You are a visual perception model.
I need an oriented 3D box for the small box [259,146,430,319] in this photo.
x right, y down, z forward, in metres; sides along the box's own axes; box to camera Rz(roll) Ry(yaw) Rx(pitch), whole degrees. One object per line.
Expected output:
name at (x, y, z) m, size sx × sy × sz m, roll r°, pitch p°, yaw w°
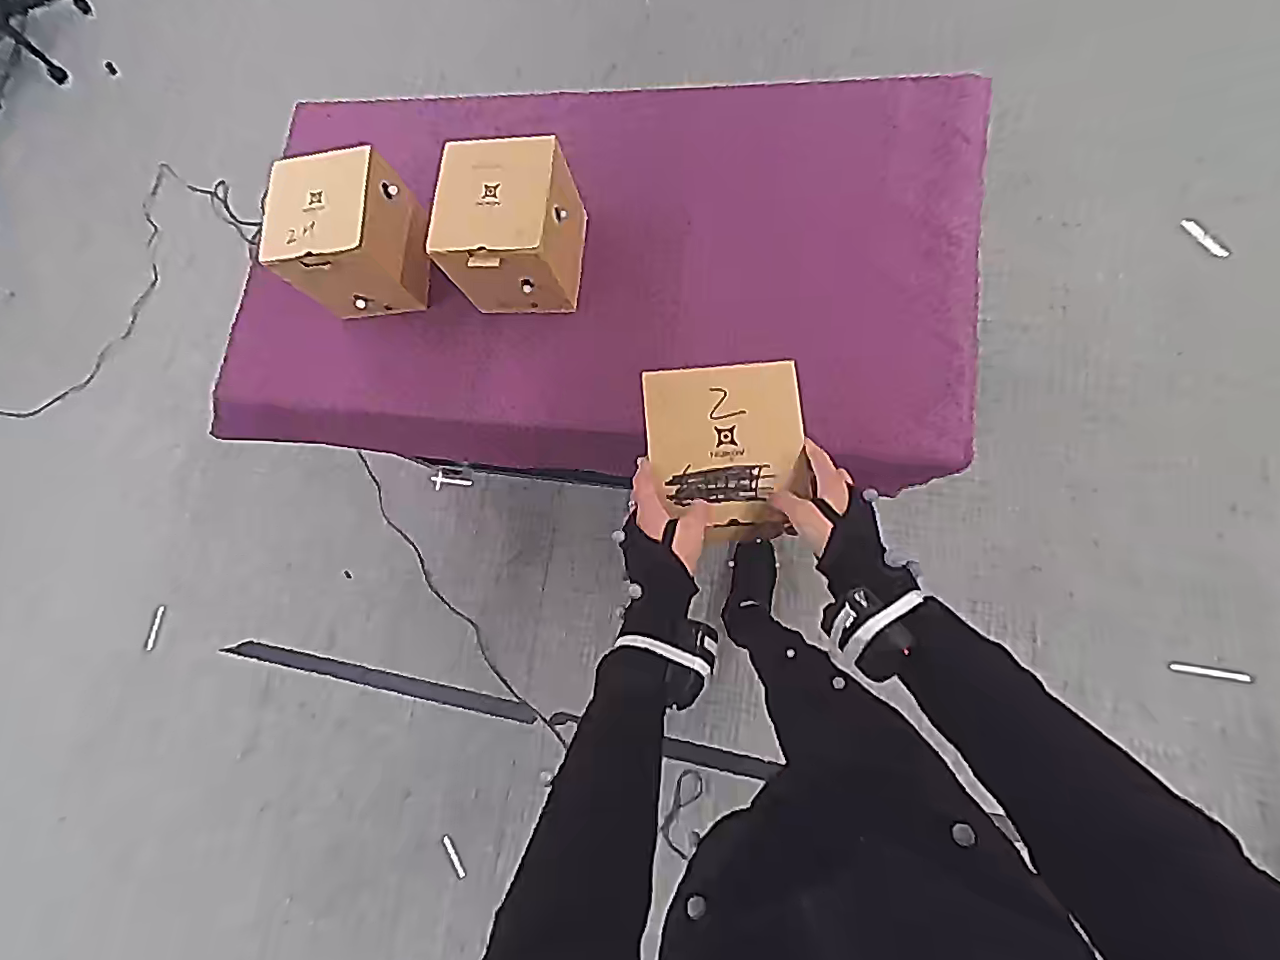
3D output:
small box at (-0.450, -0.379, 0.852) m, size 0.168 × 0.176 × 0.179 m, roll -3°, pitch 78°, yaw 11°

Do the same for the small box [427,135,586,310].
small box at (-0.185, -0.367, 0.801) m, size 0.168 × 0.176 × 0.179 m, roll 4°, pitch 79°, yaw 11°
